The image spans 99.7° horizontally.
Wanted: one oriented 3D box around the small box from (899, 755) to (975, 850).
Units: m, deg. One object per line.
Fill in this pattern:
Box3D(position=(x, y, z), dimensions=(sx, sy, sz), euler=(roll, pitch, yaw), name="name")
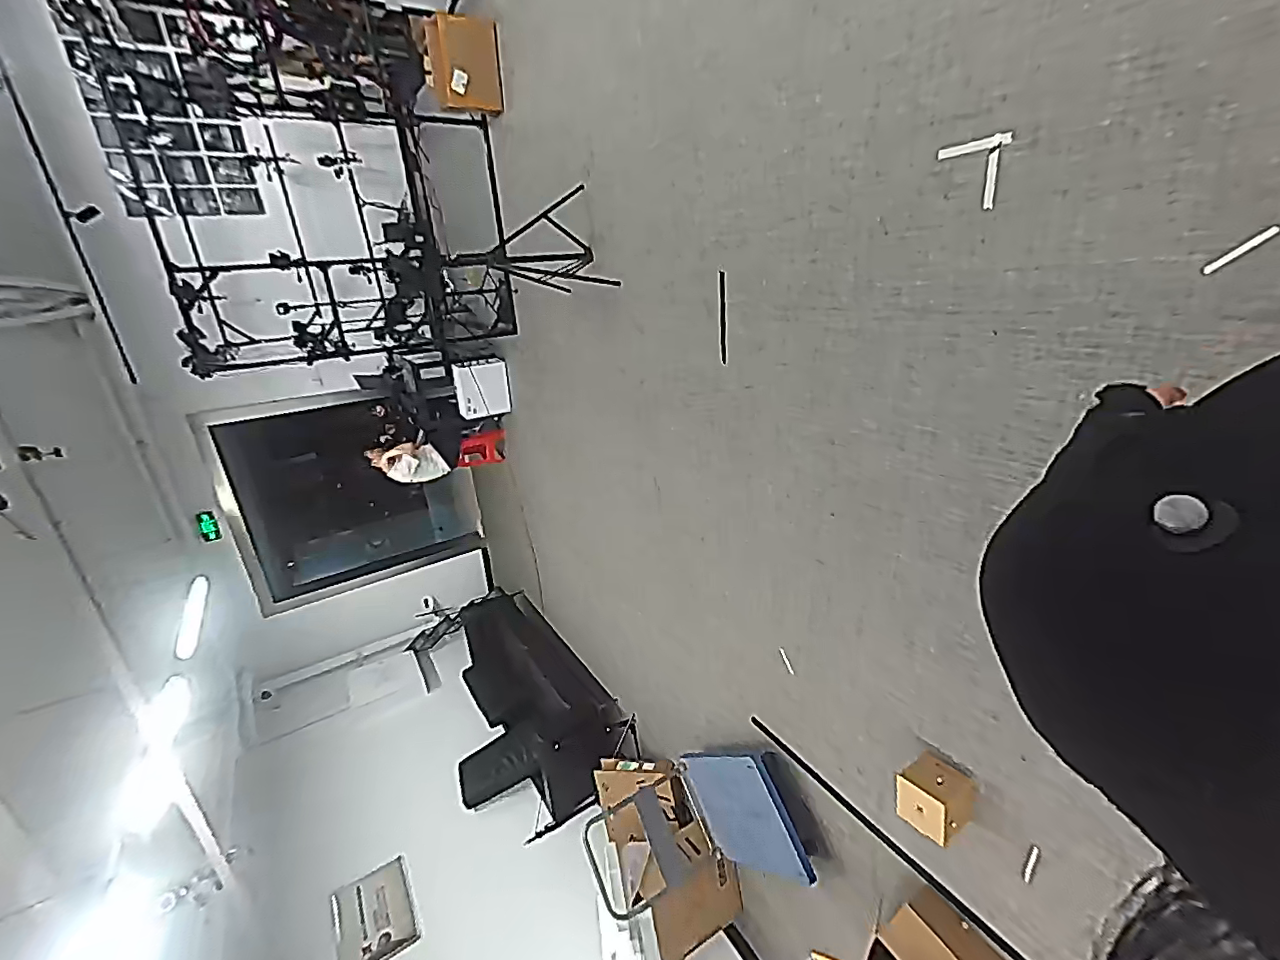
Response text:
Box3D(position=(0.992, 1.067, 1.806), dimensions=(0.168, 0.176, 0.179), euler=(18, 120, 57), name="small box")
